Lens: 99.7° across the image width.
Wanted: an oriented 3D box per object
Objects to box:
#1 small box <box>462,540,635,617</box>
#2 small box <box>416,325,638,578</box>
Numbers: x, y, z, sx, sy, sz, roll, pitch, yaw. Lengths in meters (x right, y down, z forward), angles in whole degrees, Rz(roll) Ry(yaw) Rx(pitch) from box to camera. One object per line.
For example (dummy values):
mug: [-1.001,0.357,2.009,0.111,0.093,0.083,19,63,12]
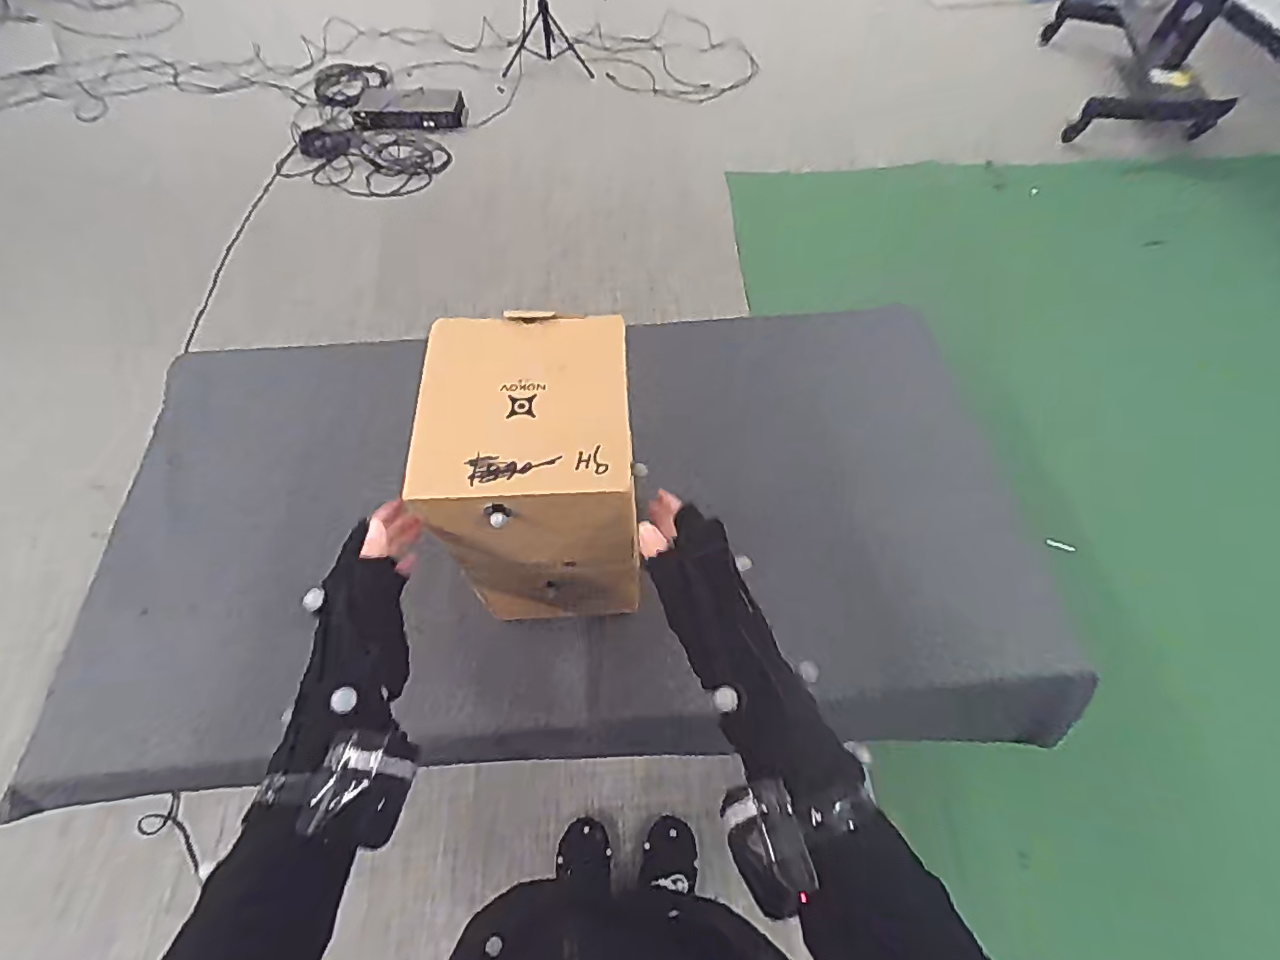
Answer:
small box: [-0.096,0.061,0.649,0.179,0.176,0.168,-3,61,-3]
small box: [-0.093,-0.021,0.510,0.168,0.176,0.179,-4,62,-4]
